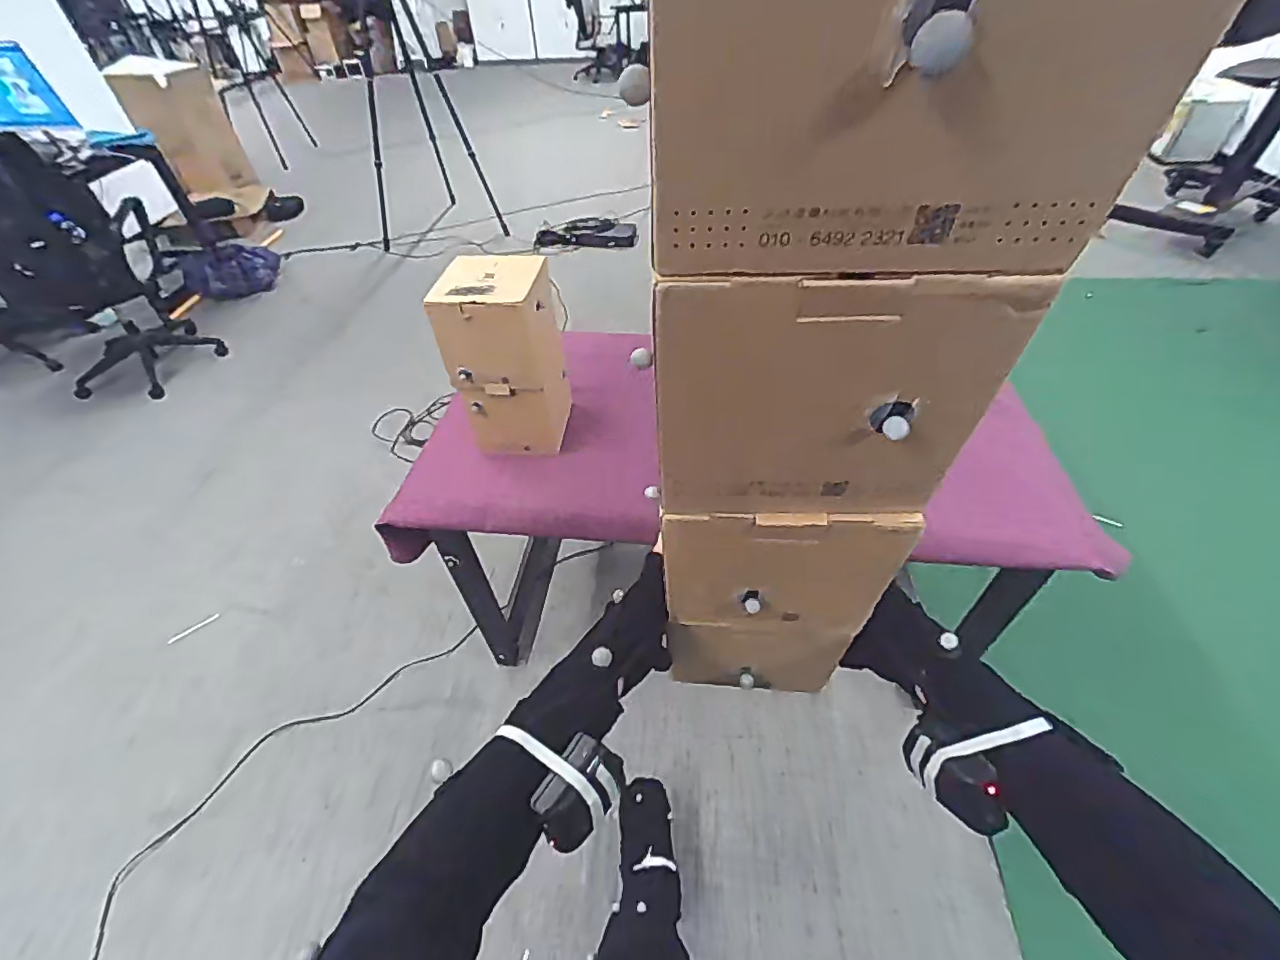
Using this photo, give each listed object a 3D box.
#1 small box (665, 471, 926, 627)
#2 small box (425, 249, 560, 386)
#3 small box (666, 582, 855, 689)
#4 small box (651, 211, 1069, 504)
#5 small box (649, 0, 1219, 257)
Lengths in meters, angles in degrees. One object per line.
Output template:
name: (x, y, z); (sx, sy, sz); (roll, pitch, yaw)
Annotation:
small box: (0.108, 0.004, 0.454); (0.168, 0.176, 0.179); (2, 53, 6)
small box: (-0.244, -0.284, 0.950); (0.168, 0.176, 0.179); (6, 47, 6)
small box: (0.118, 0.104, 0.582); (0.168, 0.176, 0.179); (3, 53, 7)
small box: (0.096, -0.099, 0.328); (0.168, 0.176, 0.179); (1, 53, 4)
small box: (0.089, -0.201, 0.200); (0.168, 0.176, 0.179); (1, 54, 4)
